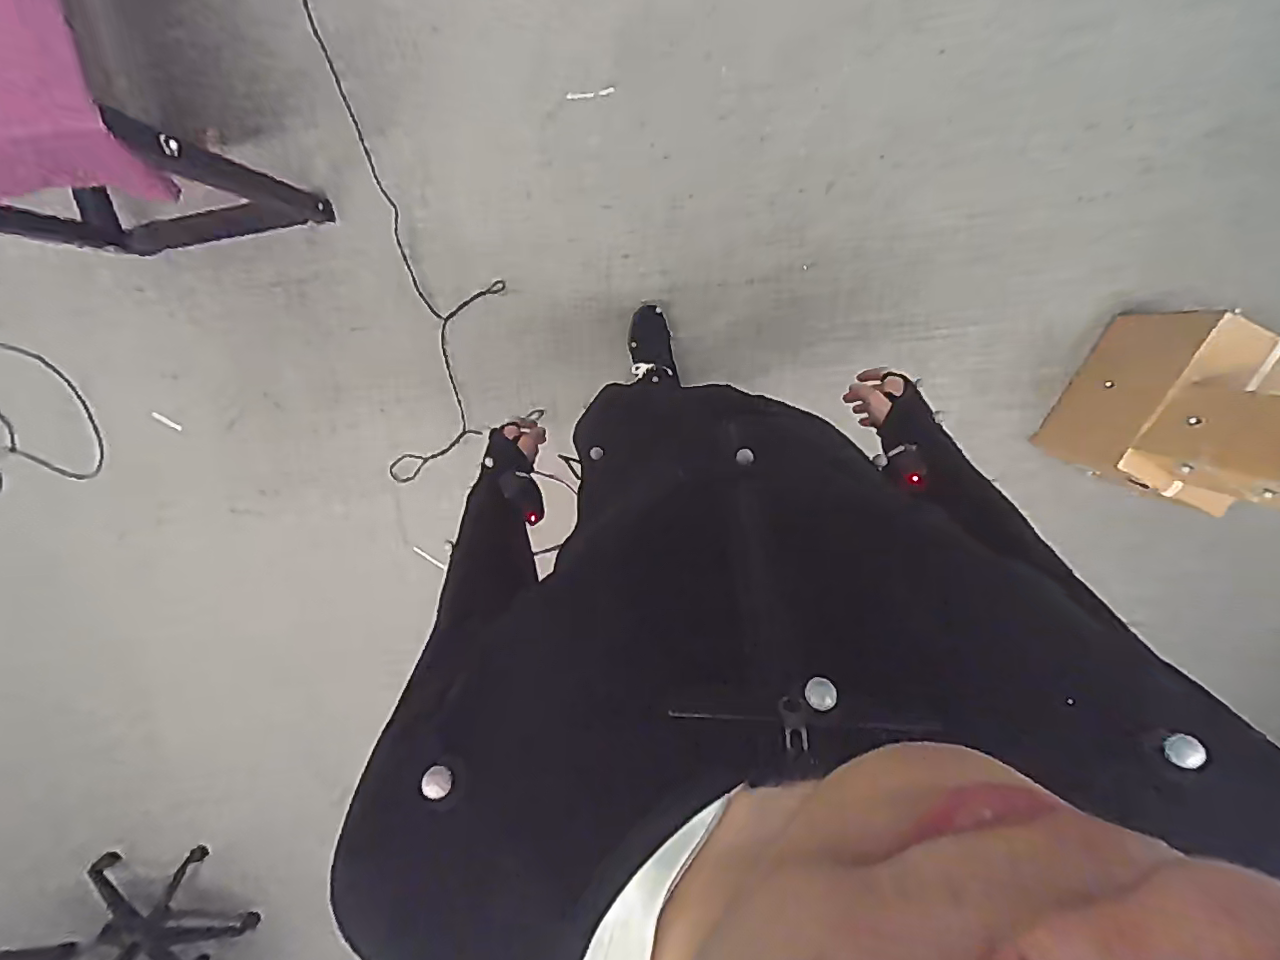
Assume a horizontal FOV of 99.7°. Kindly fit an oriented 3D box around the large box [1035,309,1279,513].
[{"bbox_3d":[1.360,-0.185,1.407,0.320,0.320,0.408,23,103,-6],"label":"large box"}]

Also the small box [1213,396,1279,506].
[{"bbox_3d":[1.270,-0.043,1.025,0.168,0.176,0.179,28,103,-5],"label":"small box"}]
